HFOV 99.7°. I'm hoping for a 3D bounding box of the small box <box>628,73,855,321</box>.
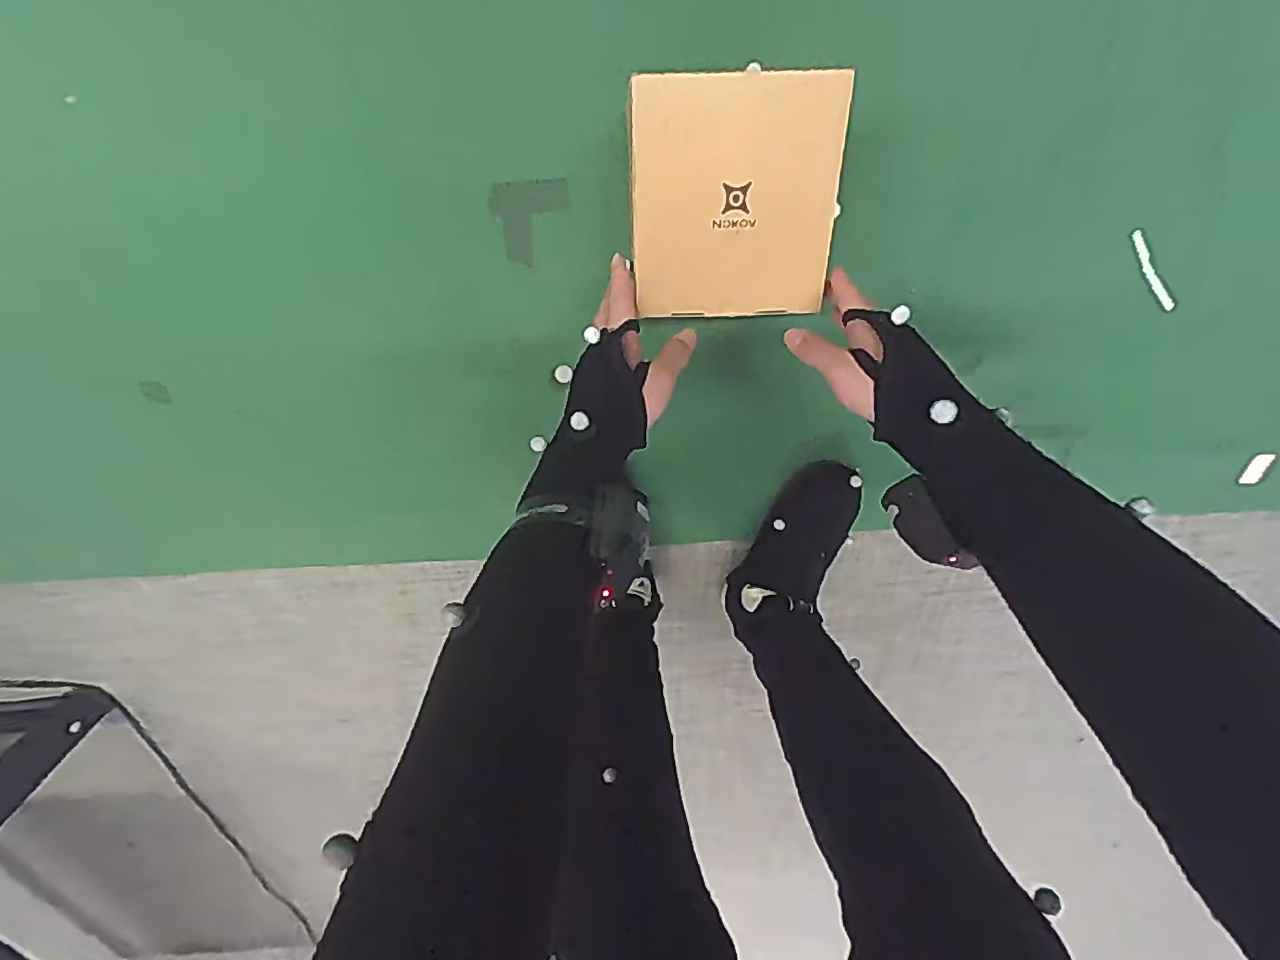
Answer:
[{"bbox_3d":[0.075,-0.256,0.503,0.168,0.176,0.179,-2,120,-1],"label":"small box"}]
